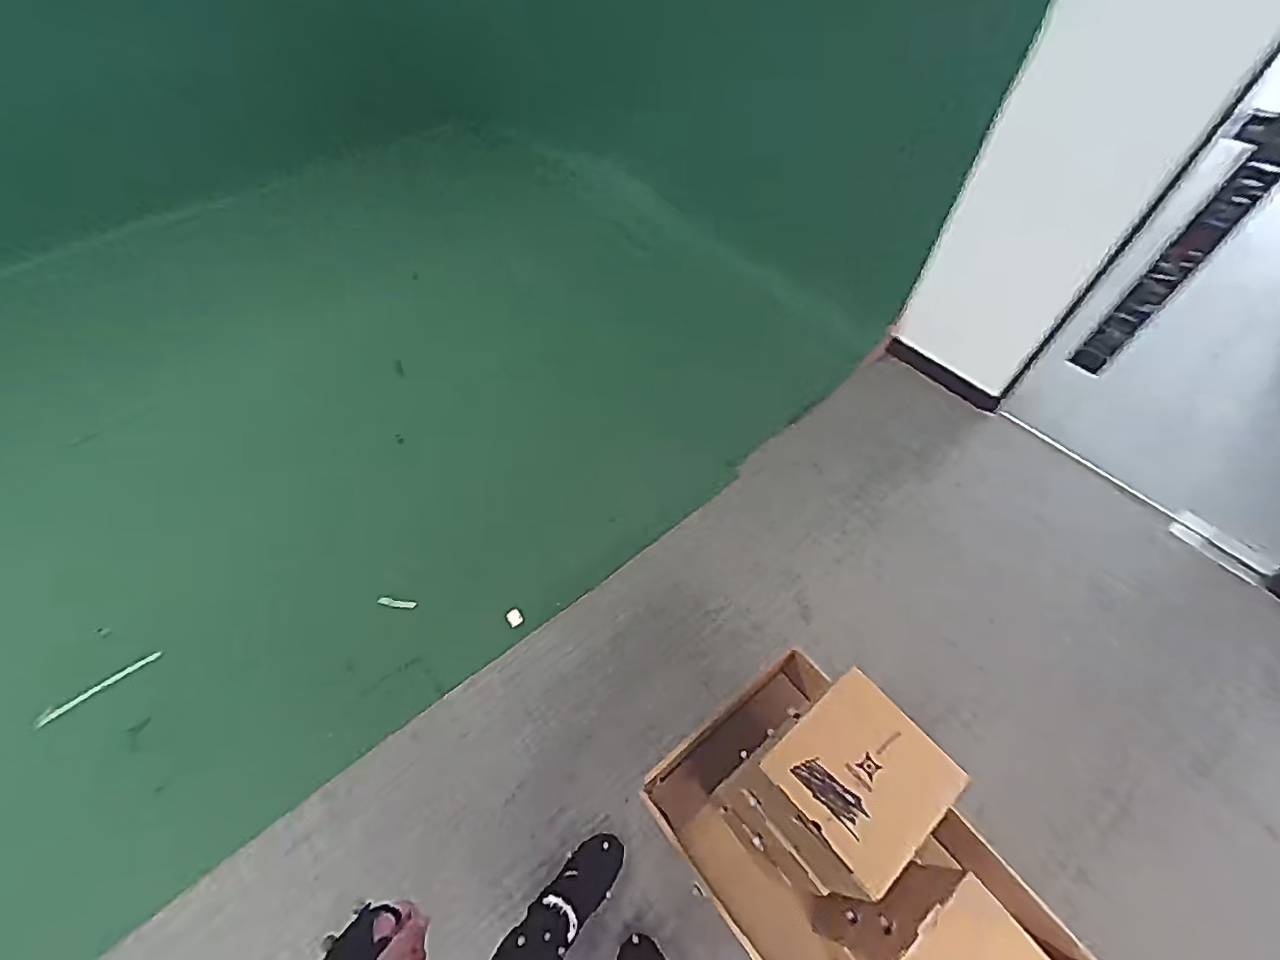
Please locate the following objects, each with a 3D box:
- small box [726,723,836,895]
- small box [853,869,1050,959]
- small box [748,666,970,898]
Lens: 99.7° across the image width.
[{"bbox_3d":[0.248,0.467,0.805,0.179,0.176,0.168,-33,63,-20],"label":"small box"},{"bbox_3d":[0.409,0.640,0.694,0.168,0.176,0.179,-32,63,-18],"label":"small box"},{"bbox_3d":[0.253,0.370,0.672,0.179,0.176,0.168,-34,63,-22],"label":"small box"}]
